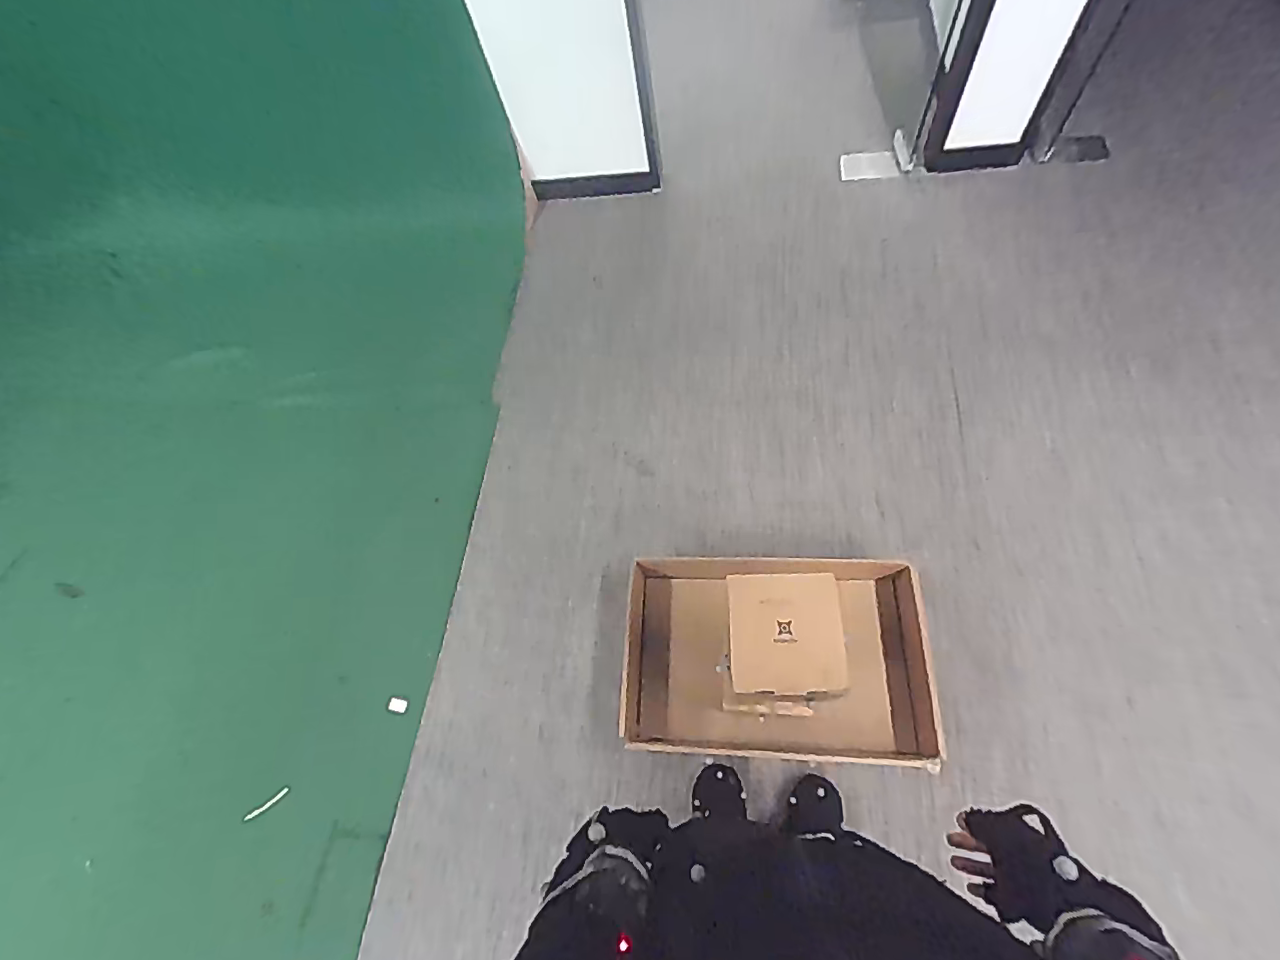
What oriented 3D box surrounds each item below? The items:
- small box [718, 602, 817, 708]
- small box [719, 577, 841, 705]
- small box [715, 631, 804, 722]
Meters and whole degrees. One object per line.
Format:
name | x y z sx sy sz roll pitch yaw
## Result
small box | 0.235 0.334 1.022 0.168 0.176 0.179 -2 64 8
small box | 0.215 0.265 0.875 0.168 0.176 0.179 -2 62 7
small box | 0.254 0.427 1.173 0.179 0.176 0.168 1 63 11
